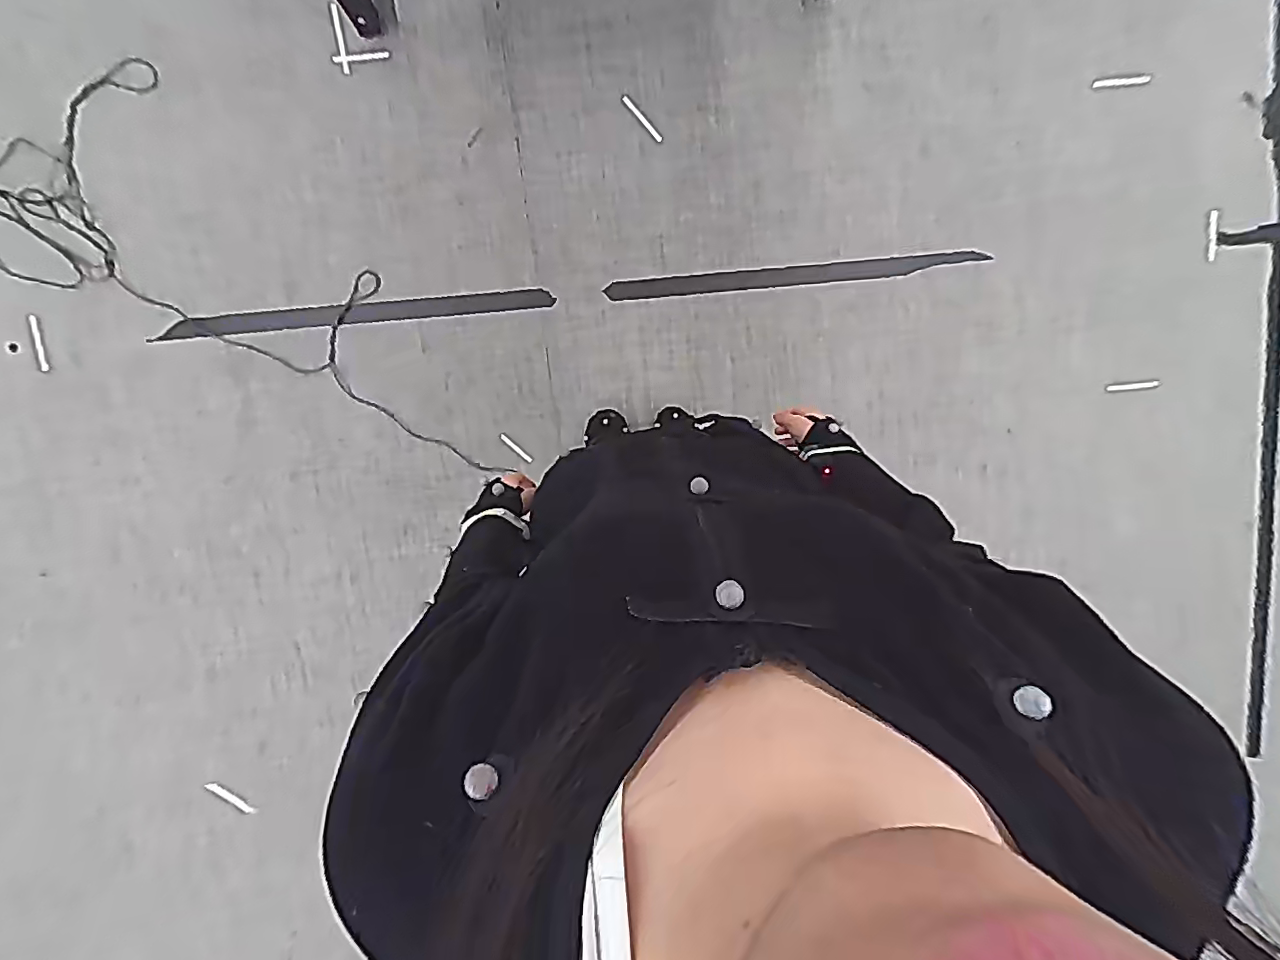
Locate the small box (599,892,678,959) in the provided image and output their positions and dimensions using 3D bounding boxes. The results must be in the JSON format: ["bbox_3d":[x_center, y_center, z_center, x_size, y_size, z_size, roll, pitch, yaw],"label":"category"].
[{"bbox_3d":[-0.001,1.109,1.263,0.179,0.176,0.168,-7,96,-1],"label":"small box"}]
